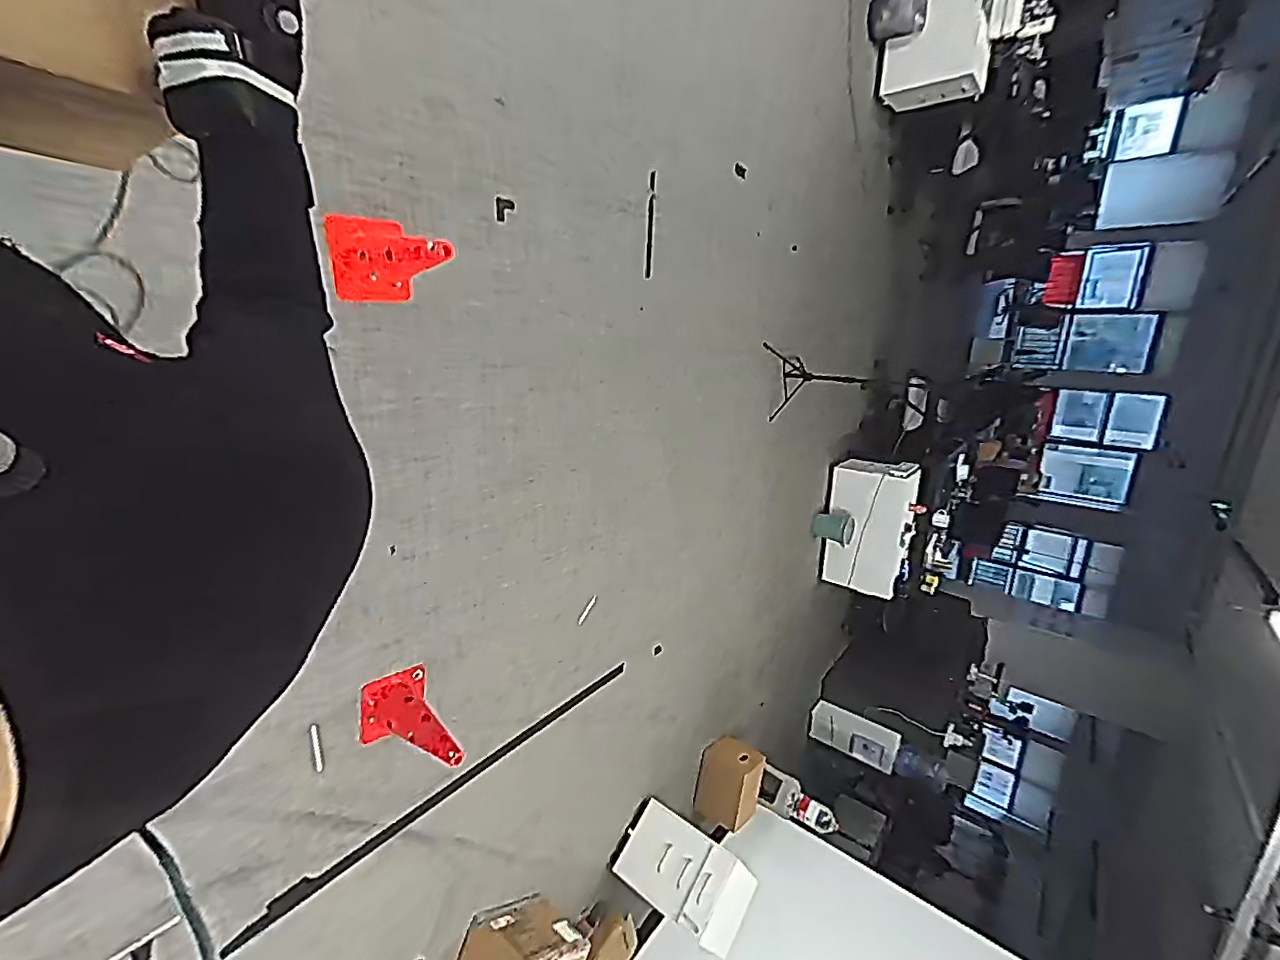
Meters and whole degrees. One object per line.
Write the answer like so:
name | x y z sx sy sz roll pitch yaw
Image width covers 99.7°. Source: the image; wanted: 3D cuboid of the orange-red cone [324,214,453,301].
orange-red cone | -0.563 -0.539 1.286 0.198 0.360 0.199 -21 116 -49

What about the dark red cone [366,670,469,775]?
dark red cone | -0.619 0.730 1.565 0.201 0.394 0.202 -8 107 -50

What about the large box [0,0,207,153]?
large box | -0.547 -0.423 0.291 0.408 0.320 0.320 -14 114 -51
